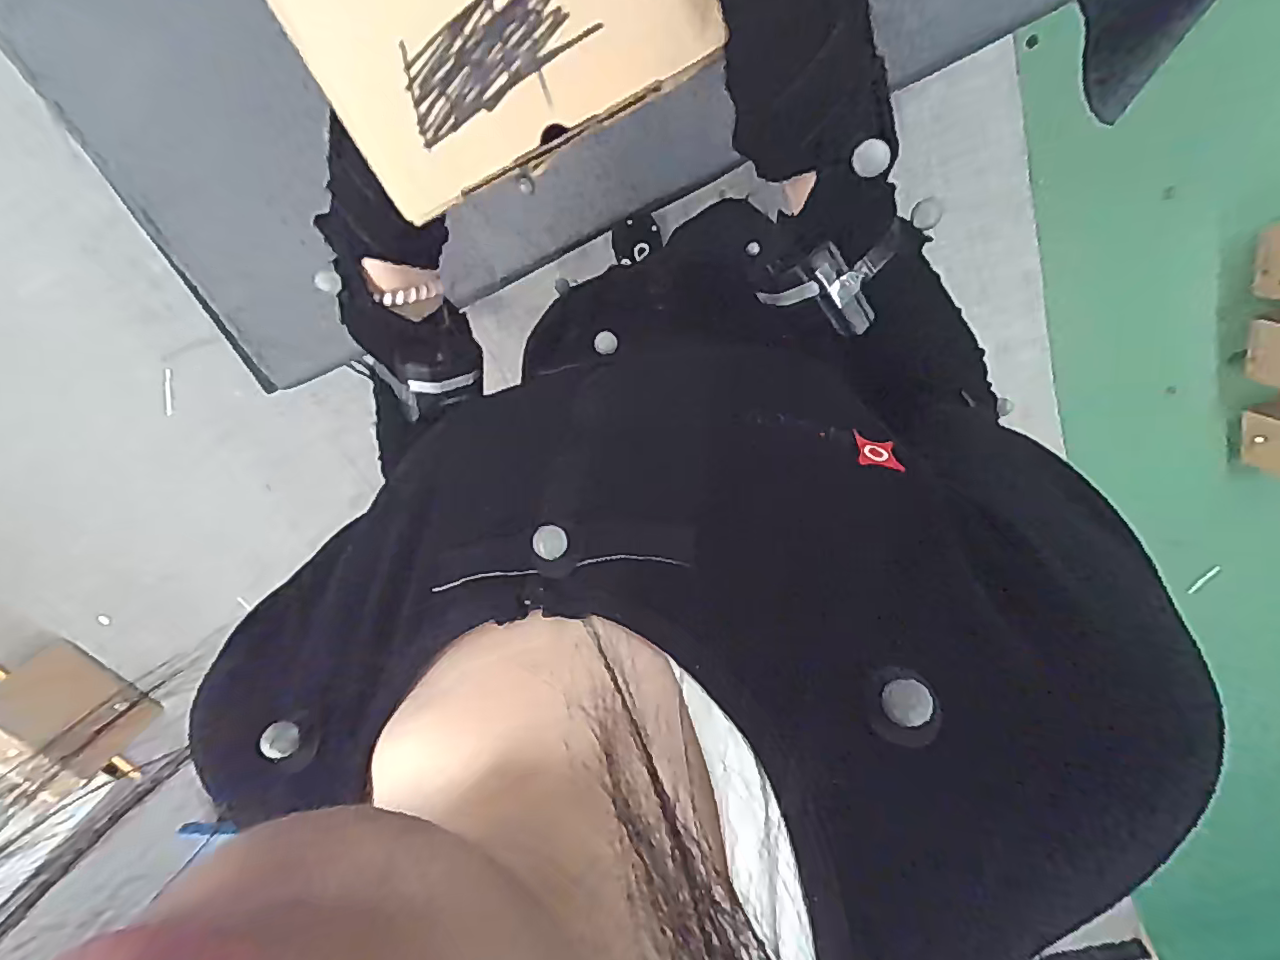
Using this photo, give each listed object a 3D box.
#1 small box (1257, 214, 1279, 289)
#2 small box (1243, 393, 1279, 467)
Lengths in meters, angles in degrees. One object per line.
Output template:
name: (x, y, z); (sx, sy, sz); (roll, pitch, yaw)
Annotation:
small box: (1.544, -0.524, 1.196); (0.179, 0.176, 0.168); (-17, 114, 10)
small box: (1.721, -0.134, 1.378); (0.179, 0.176, 0.168); (-21, 113, 12)
